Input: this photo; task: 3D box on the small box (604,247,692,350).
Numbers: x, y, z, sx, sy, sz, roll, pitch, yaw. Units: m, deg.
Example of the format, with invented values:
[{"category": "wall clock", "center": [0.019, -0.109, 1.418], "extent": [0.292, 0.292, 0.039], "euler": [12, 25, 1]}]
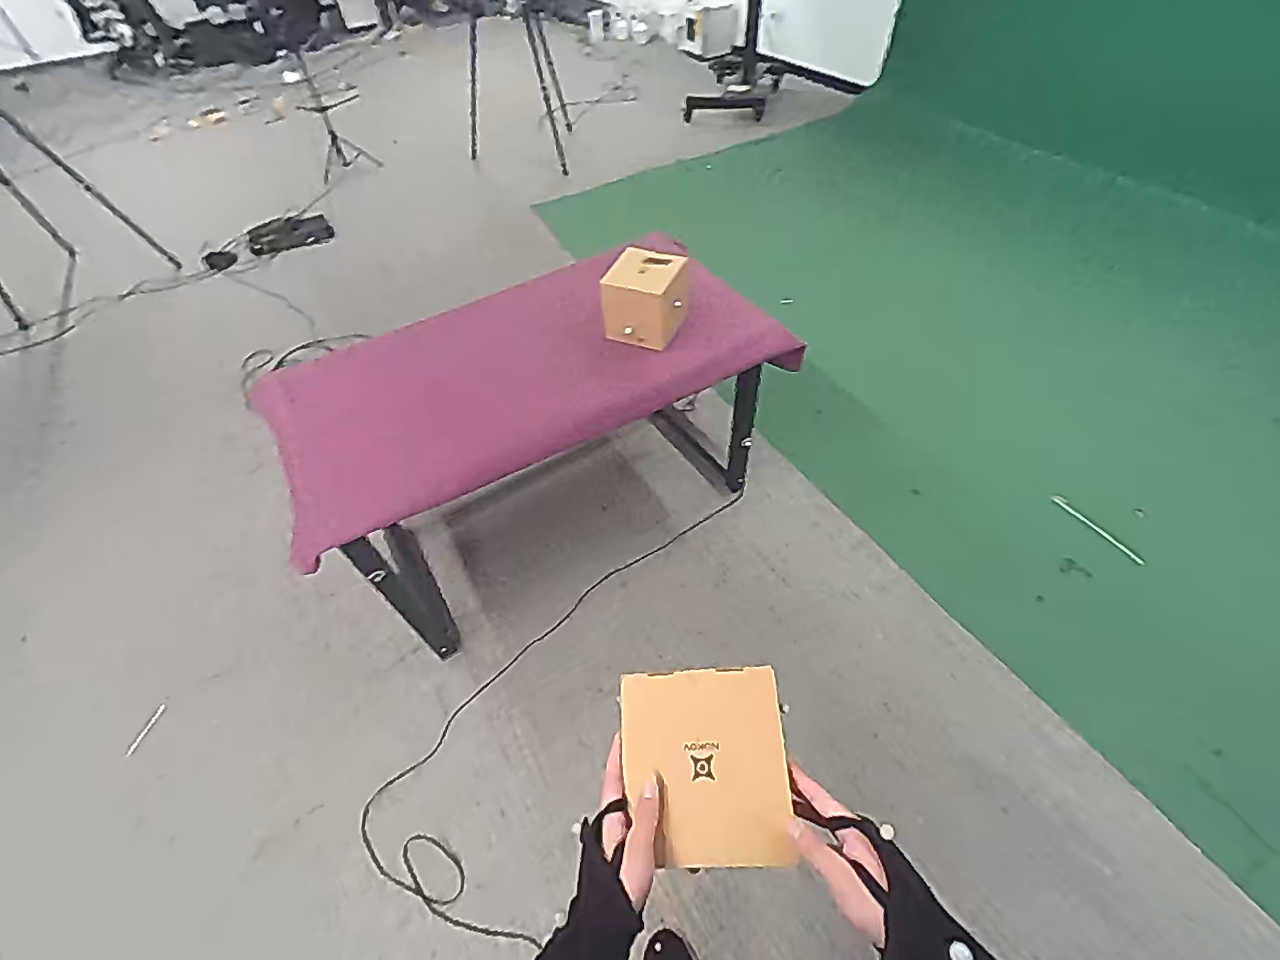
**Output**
[{"category": "small box", "center": [0.024, -0.464, 1.385], "extent": [0.168, 0.176, 0.179], "euler": [18, 56, 18]}]

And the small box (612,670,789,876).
[{"category": "small box", "center": [0.067, 0.316, 0.600], "extent": [0.168, 0.176, 0.179], "euler": [-6, 62, 7]}]
